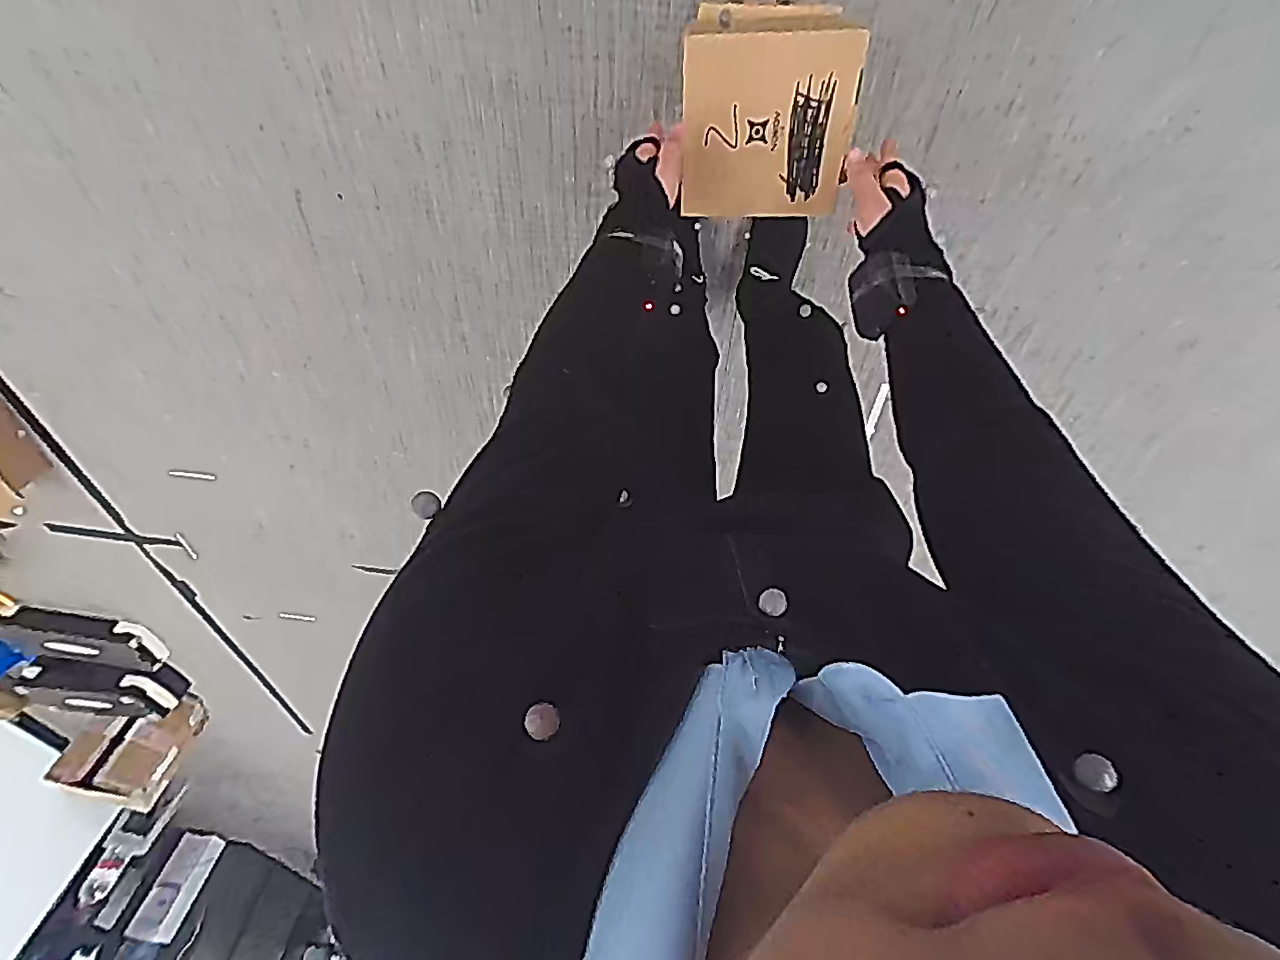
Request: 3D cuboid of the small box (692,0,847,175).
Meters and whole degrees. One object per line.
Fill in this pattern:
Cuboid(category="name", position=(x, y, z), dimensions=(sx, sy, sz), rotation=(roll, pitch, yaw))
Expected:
Cuboid(category="small box", position=(0.159, -0.530, 0.725), dimensions=(0.168, 0.176, 0.179), rotation=(4, 133, 4))
